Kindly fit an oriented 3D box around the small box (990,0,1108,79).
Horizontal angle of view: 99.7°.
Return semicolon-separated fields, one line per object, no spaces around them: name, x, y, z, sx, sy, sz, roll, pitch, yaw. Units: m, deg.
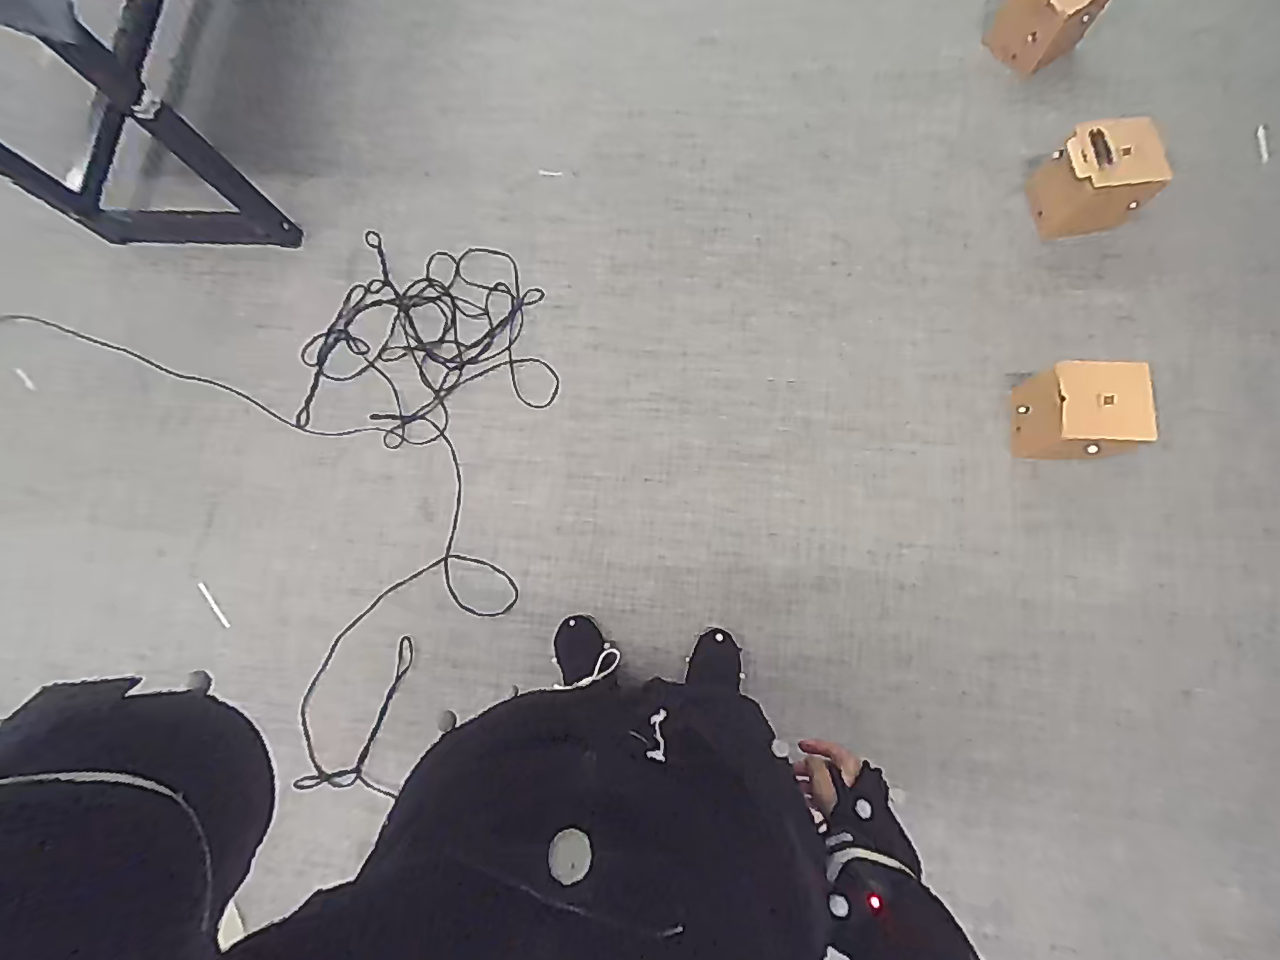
small box;1.025;-1.167;1.358;0.179;0.176;0.168;-34;79;-4

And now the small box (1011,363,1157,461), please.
small box;0.932;-0.138;1.150;0.179;0.176;0.168;2;79;6
